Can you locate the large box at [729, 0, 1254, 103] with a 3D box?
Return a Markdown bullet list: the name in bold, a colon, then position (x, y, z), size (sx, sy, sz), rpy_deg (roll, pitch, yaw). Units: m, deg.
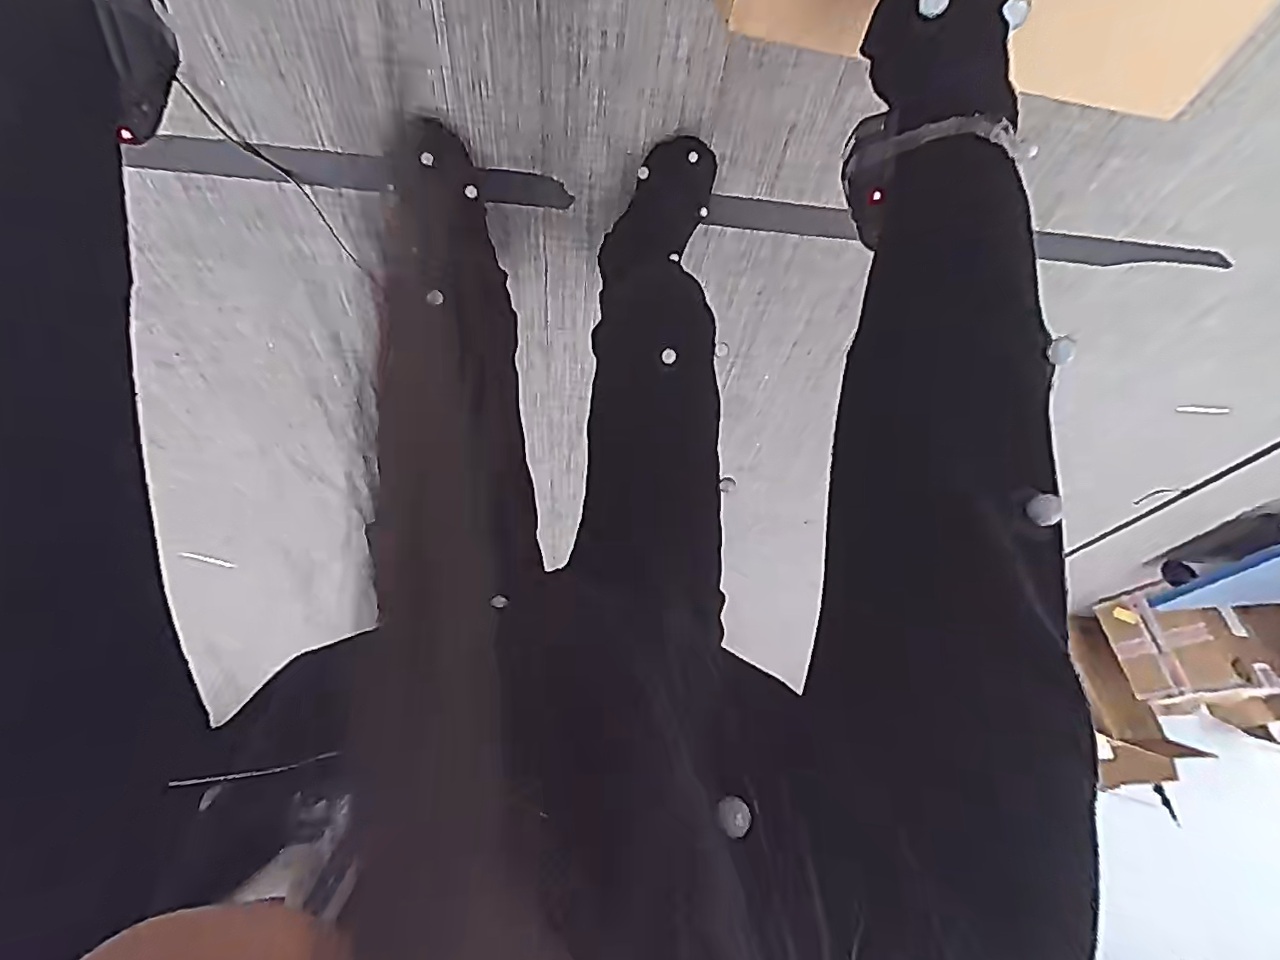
- **large box**: position (0.277, -0.542, 0.395), size (0.408, 0.320, 0.320), rpy_deg (2, 148, -11)
